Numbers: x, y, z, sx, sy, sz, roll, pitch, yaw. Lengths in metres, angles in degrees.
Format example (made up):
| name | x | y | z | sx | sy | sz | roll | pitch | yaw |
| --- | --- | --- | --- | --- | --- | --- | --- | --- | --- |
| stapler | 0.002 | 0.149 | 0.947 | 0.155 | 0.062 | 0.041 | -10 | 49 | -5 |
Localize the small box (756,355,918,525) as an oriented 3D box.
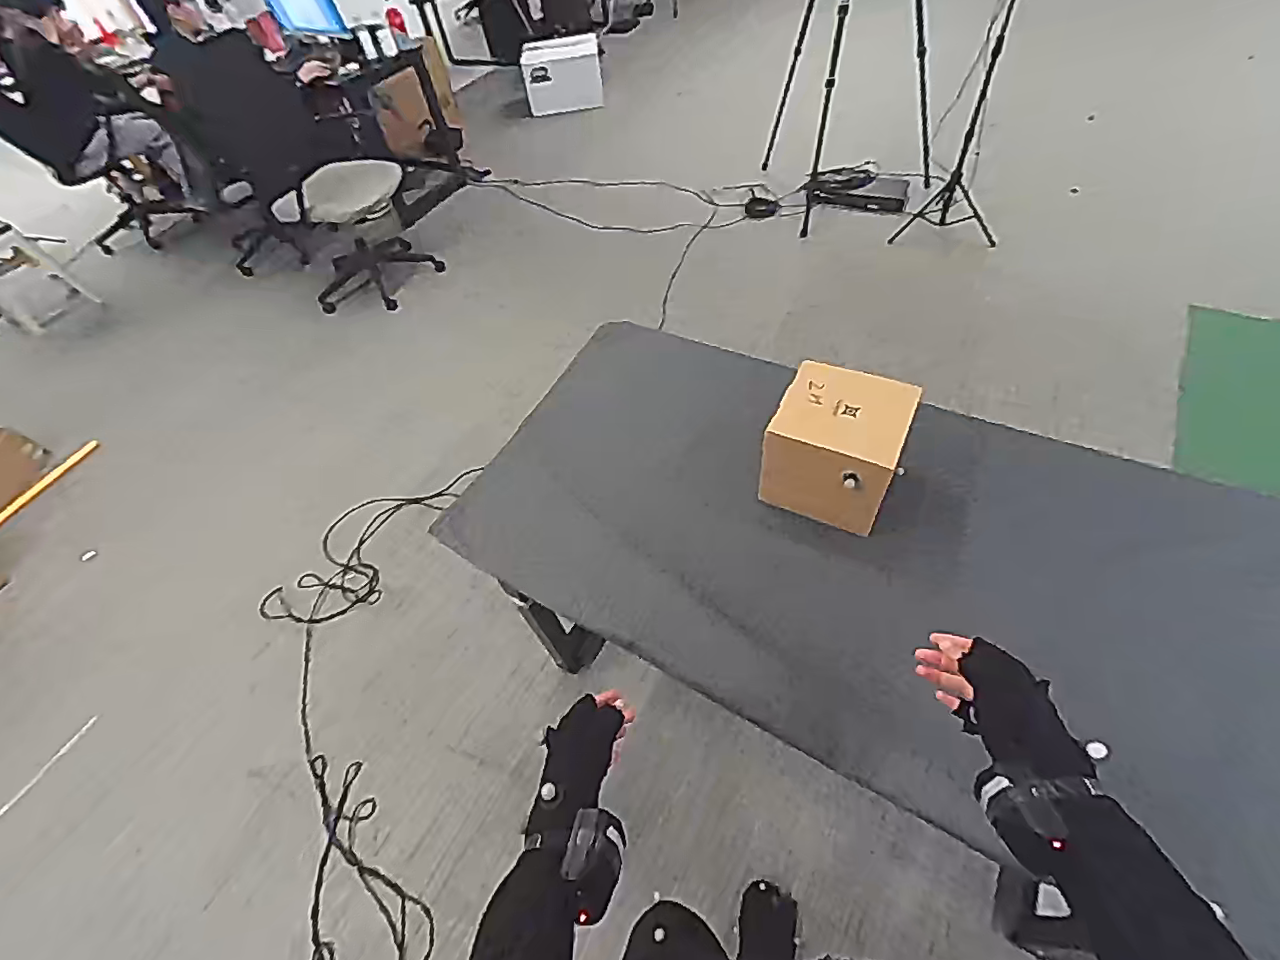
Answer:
| name | x | y | z | sx | sy | sz | roll | pitch | yaw |
| --- | --- | --- | --- | --- | --- | --- | --- | --- | --- |
| small box | 0.288 | -0.056 | 0.819 | 0.179 | 0.176 | 0.168 | 20 | 58 | 22 |
